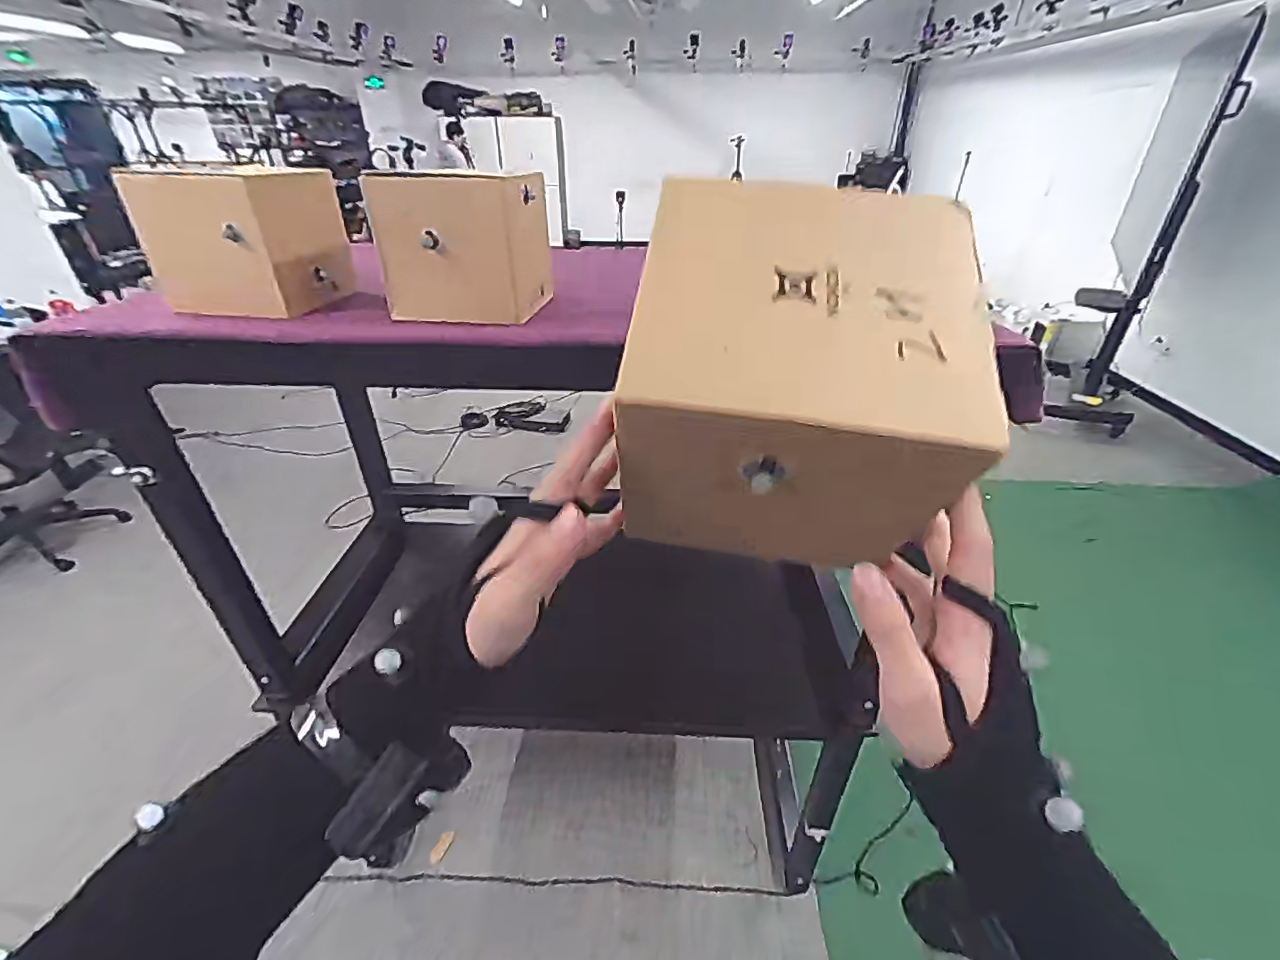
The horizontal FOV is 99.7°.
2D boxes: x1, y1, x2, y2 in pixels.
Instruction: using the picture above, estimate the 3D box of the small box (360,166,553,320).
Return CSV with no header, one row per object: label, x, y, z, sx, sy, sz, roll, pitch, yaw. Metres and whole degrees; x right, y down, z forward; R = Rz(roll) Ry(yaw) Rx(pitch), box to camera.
small box,-0.224,-0.314,0.713,0.179,0.176,0.168,3,32,6
